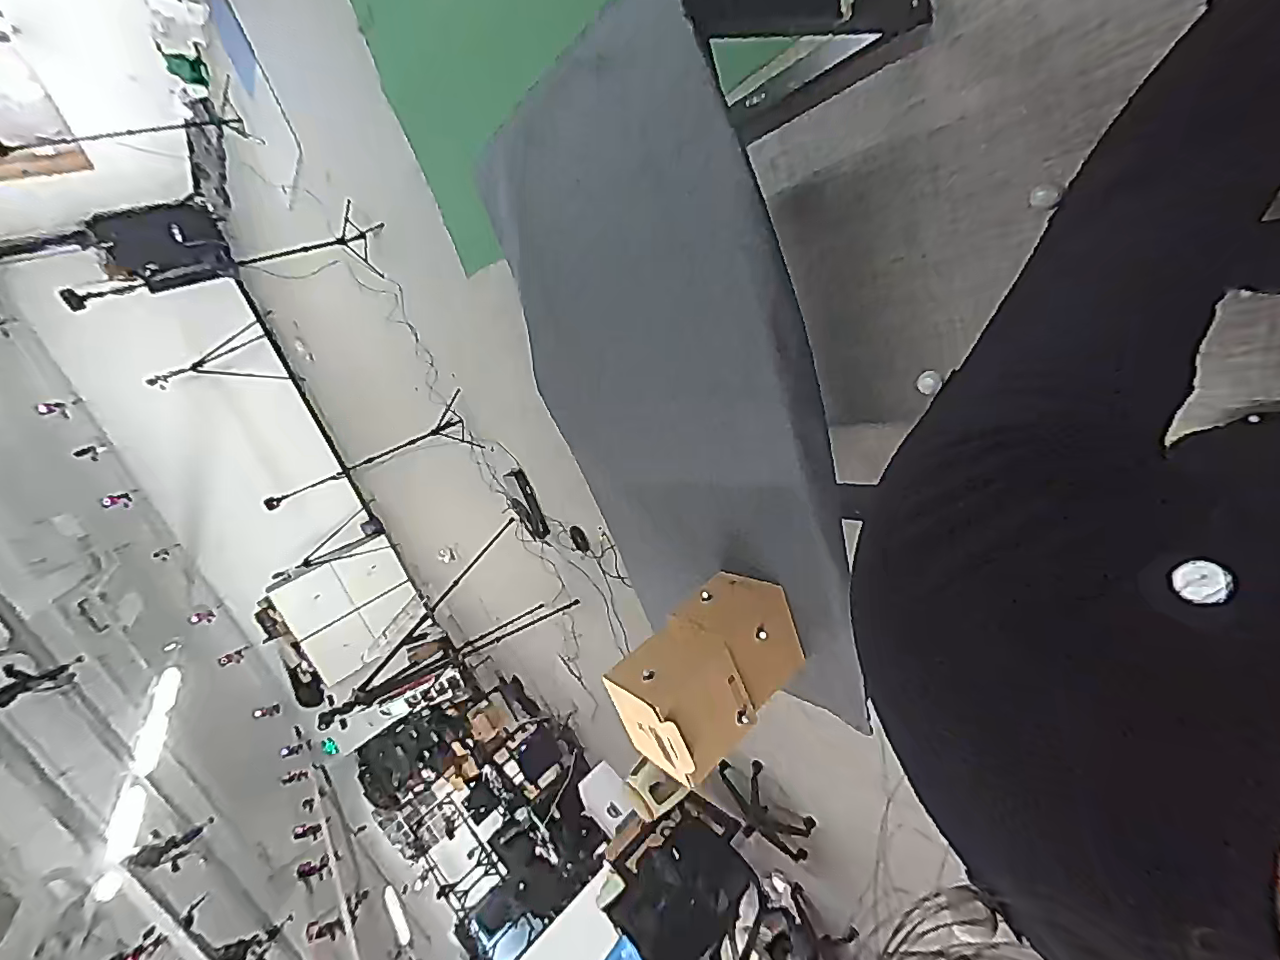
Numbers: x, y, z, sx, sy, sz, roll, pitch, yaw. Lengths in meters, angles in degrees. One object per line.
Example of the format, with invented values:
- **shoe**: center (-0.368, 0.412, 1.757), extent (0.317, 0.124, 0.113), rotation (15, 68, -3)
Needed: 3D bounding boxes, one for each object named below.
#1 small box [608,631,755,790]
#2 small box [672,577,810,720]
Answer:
- **small box**: center (0.079, 0.390, 0.954), extent (0.179, 0.176, 0.168), rotation (-3, 113, 58)
- **small box**: center (0.196, 0.310, 1.037), extent (0.168, 0.176, 0.179), rotation (3, 119, 55)
